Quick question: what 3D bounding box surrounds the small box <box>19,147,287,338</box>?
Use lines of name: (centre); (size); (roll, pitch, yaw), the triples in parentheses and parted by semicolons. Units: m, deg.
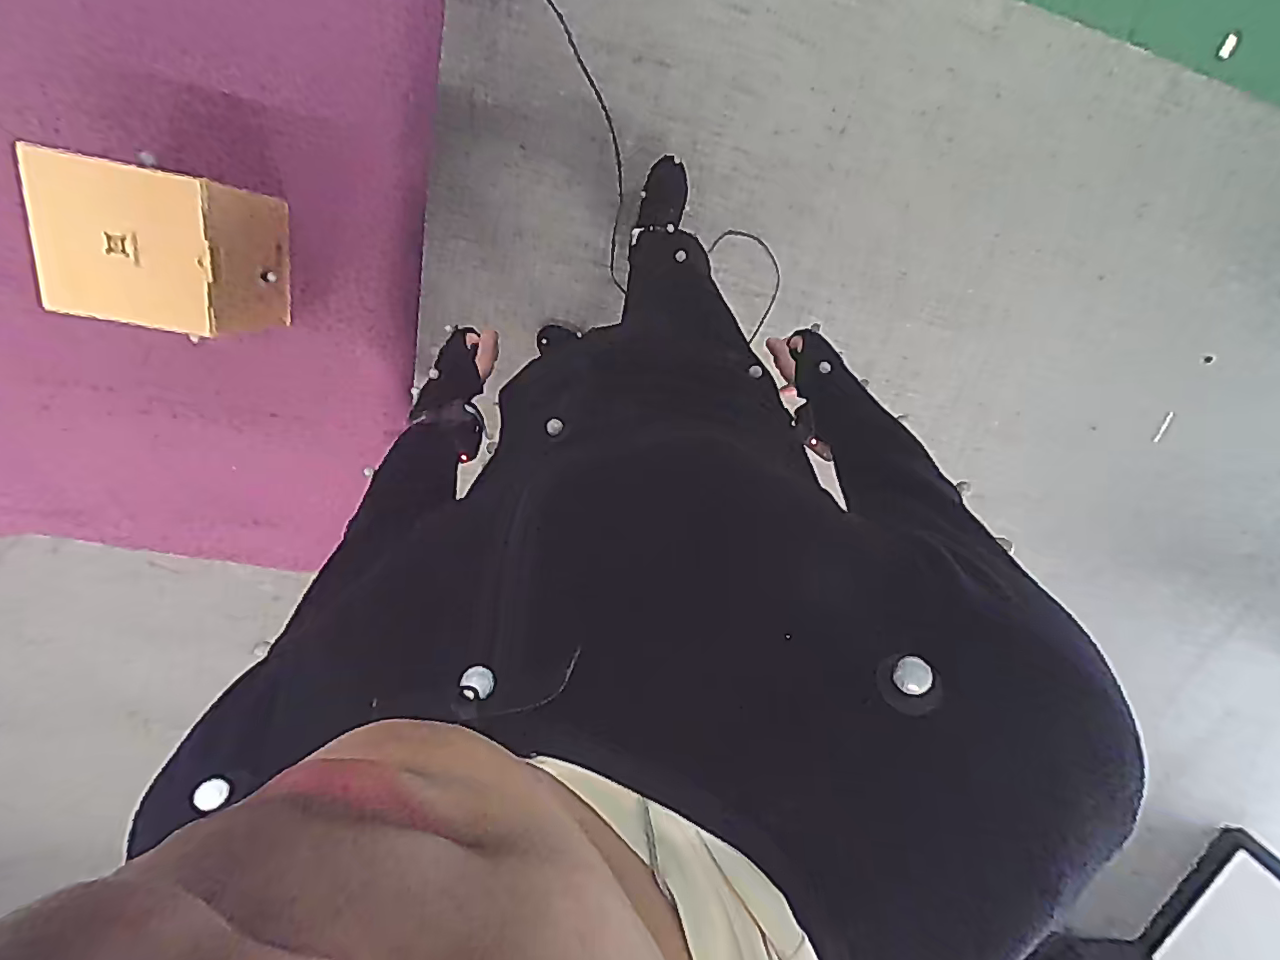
small box: (-0.566, -0.277, 0.658); (0.179, 0.176, 0.168); (8, 109, -9)
